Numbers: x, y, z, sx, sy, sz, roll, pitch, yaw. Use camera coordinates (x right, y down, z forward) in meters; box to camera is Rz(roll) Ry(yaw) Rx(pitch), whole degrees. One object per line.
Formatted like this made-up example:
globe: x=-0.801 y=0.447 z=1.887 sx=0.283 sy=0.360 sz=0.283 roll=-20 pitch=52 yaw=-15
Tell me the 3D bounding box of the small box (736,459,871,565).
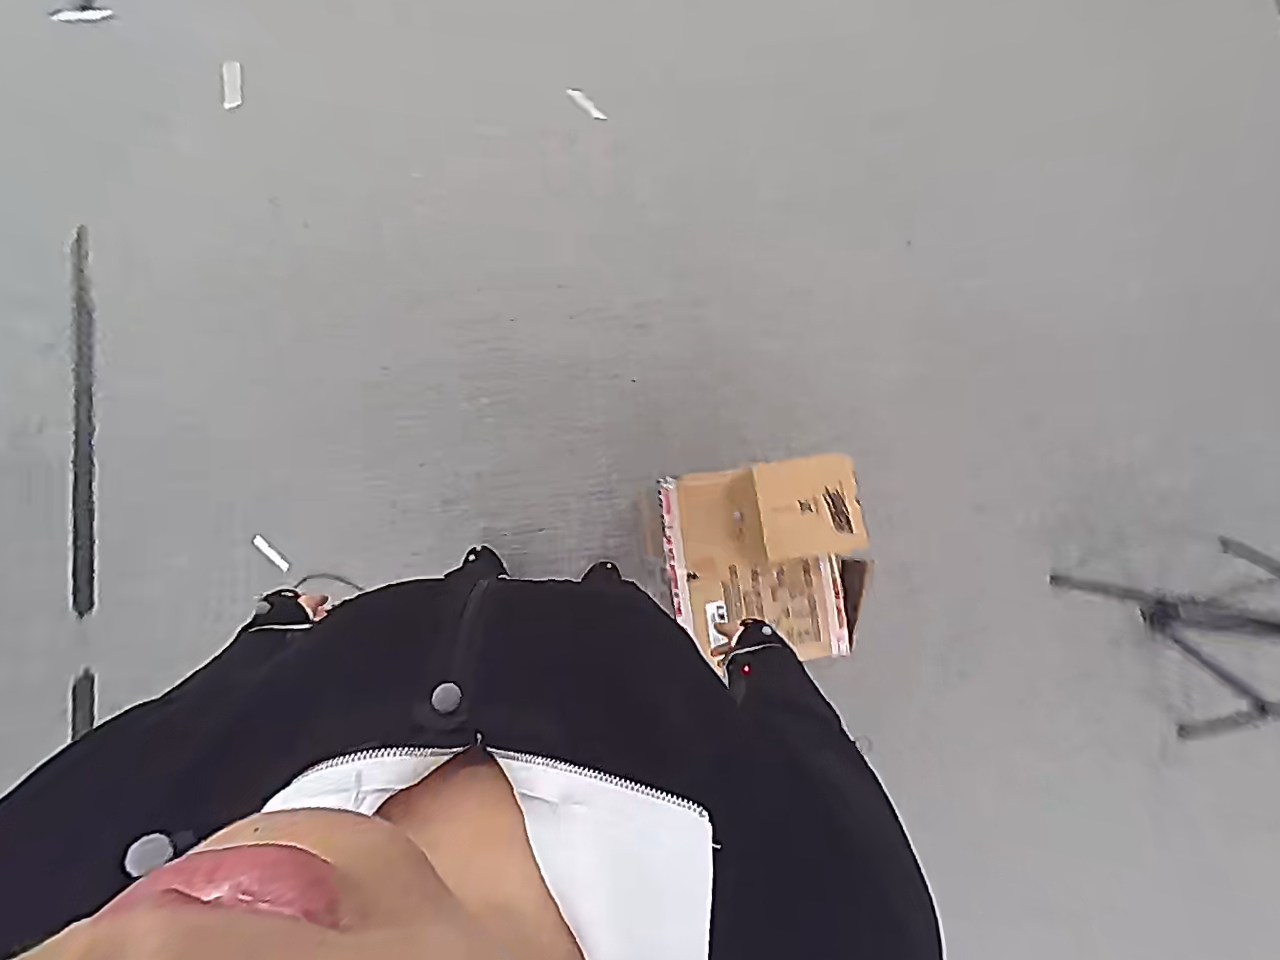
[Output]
small box: x=0.286 y=0.062 z=0.983 sx=0.179 sy=0.176 sz=0.168 roll=-7 pitch=82 yaw=-3
